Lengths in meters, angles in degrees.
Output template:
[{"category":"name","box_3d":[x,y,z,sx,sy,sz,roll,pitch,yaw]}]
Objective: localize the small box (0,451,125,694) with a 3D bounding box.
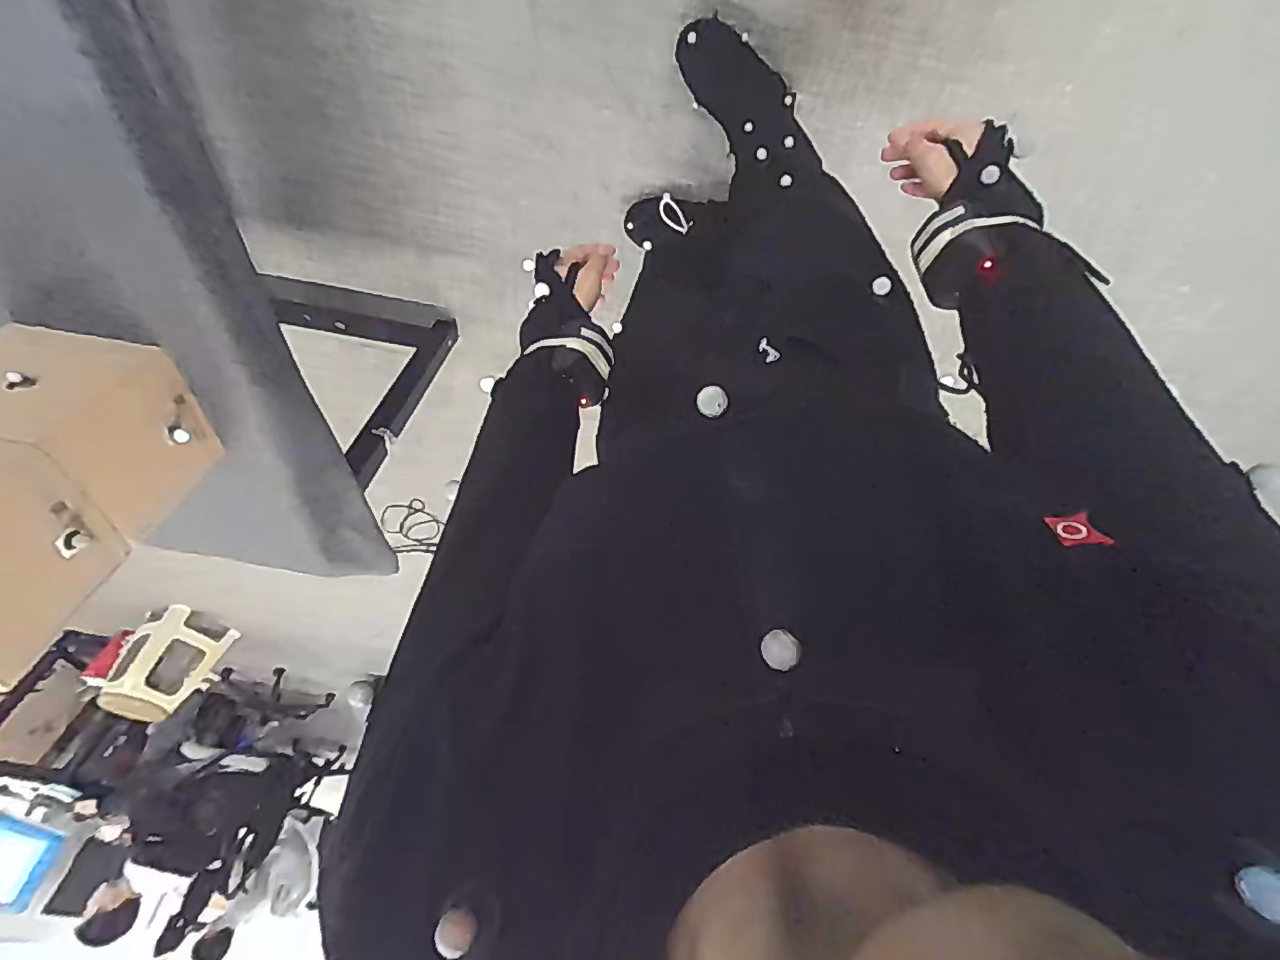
[{"category":"small box","box_3d":[-0.650,0.076,0.490,0.179,0.176,0.168,8,137,-2]}]

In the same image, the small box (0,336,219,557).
[{"category":"small box","box_3d":[-0.635,-0.040,0.602,0.179,0.176,0.168,8,136,-2]}]
